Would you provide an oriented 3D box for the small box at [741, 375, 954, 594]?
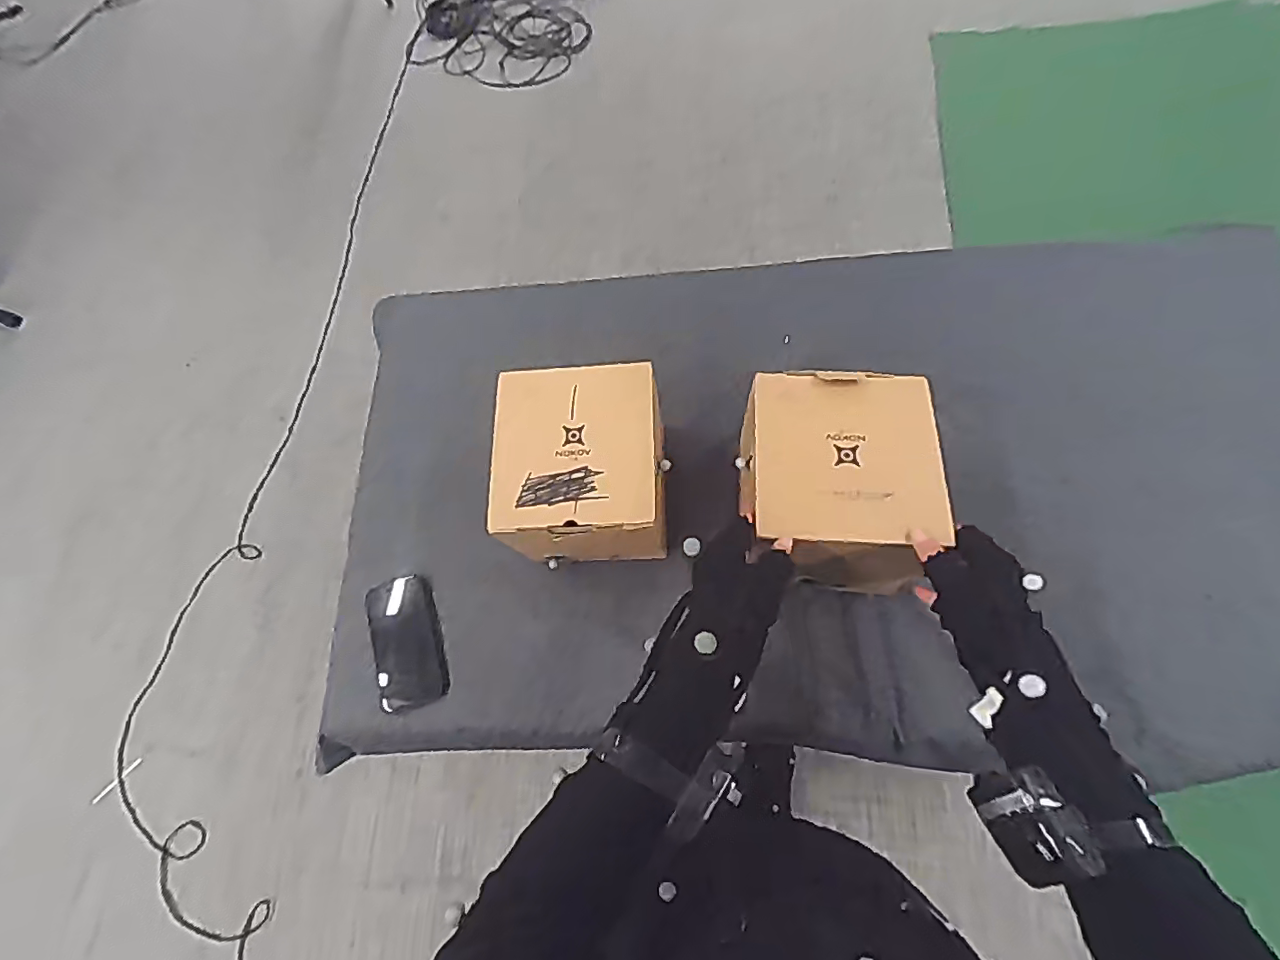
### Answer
[{"bbox_3d":[0.197,0.011,0.572,0.168,0.176,0.179,3,65,5],"label":"small box"}]

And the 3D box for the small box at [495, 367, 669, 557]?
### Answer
[{"bbox_3d":[-0.054,-0.009,0.622,0.168,0.176,0.179,-2,71,5],"label":"small box"}]
